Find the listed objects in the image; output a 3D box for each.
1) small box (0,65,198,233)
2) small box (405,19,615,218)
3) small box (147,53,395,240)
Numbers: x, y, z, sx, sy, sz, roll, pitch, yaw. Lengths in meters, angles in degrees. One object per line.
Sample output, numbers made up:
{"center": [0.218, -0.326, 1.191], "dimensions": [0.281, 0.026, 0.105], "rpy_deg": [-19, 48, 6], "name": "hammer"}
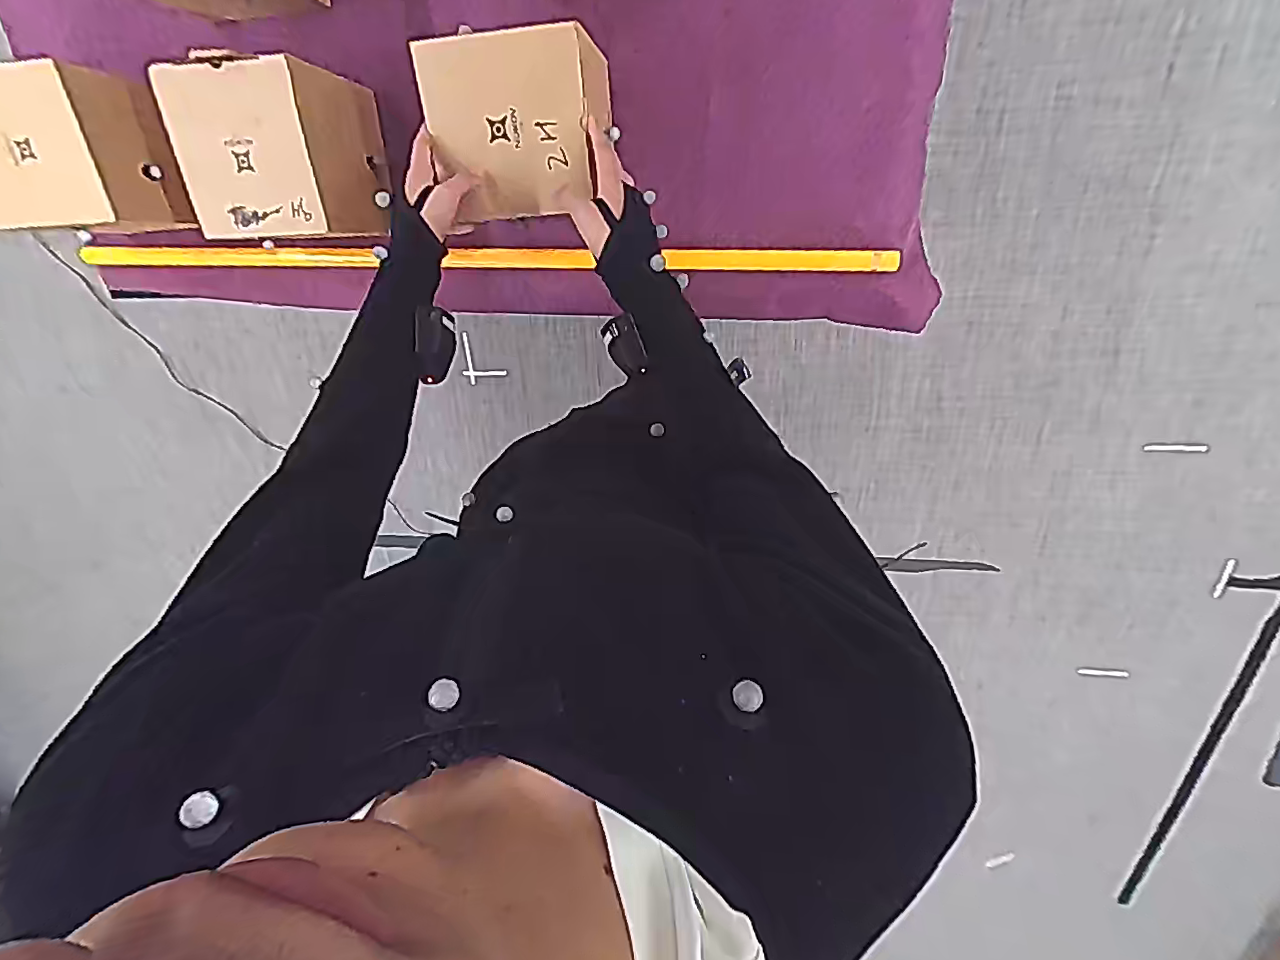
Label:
{"center": [-0.718, -0.416, 0.706], "dimensions": [0.179, 0.176, 0.168], "rpy_deg": [1, 114, 7], "name": "small box"}
{"center": [-0.133, -0.399, 0.627], "dimensions": [0.179, 0.176, 0.168], "rpy_deg": [0, 117, 7], "name": "small box"}
{"center": [-0.440, -0.400, 0.679], "dimensions": [0.168, 0.176, 0.179], "rpy_deg": [1, 114, 7], "name": "small box"}
